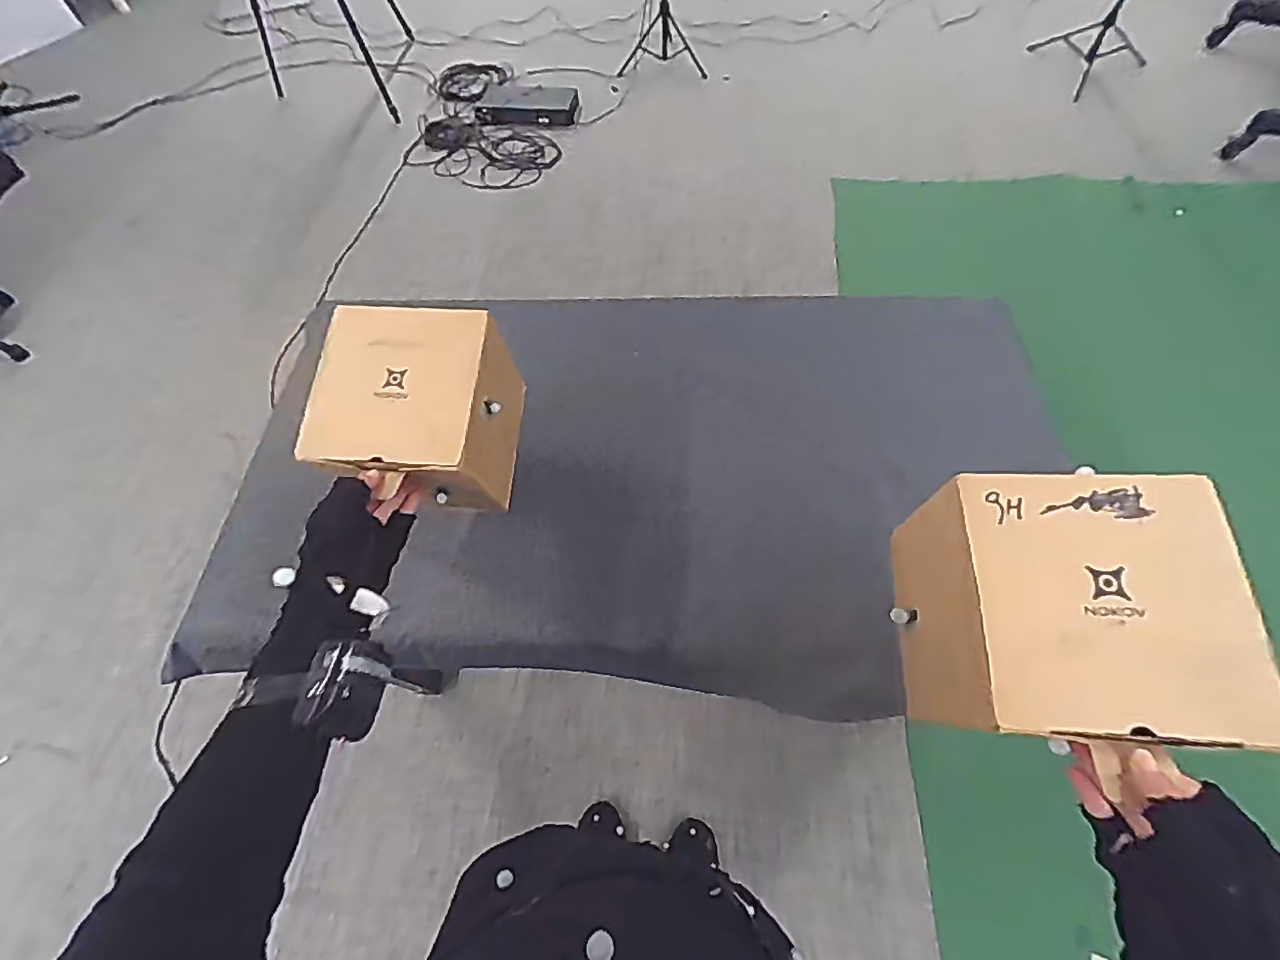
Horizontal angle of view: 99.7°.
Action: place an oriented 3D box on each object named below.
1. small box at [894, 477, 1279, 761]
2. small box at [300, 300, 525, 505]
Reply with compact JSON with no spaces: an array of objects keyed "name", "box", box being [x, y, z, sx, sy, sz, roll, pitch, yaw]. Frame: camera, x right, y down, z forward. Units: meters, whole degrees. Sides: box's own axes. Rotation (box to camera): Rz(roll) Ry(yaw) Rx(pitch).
[{"name":"small box","box":[0.317,0.107,0.430,0.168,0.176,0.179,1,71,8]},{"name":"small box","box":[-0.236,-0.077,0.614,0.168,0.176,0.179,4,72,2]}]
